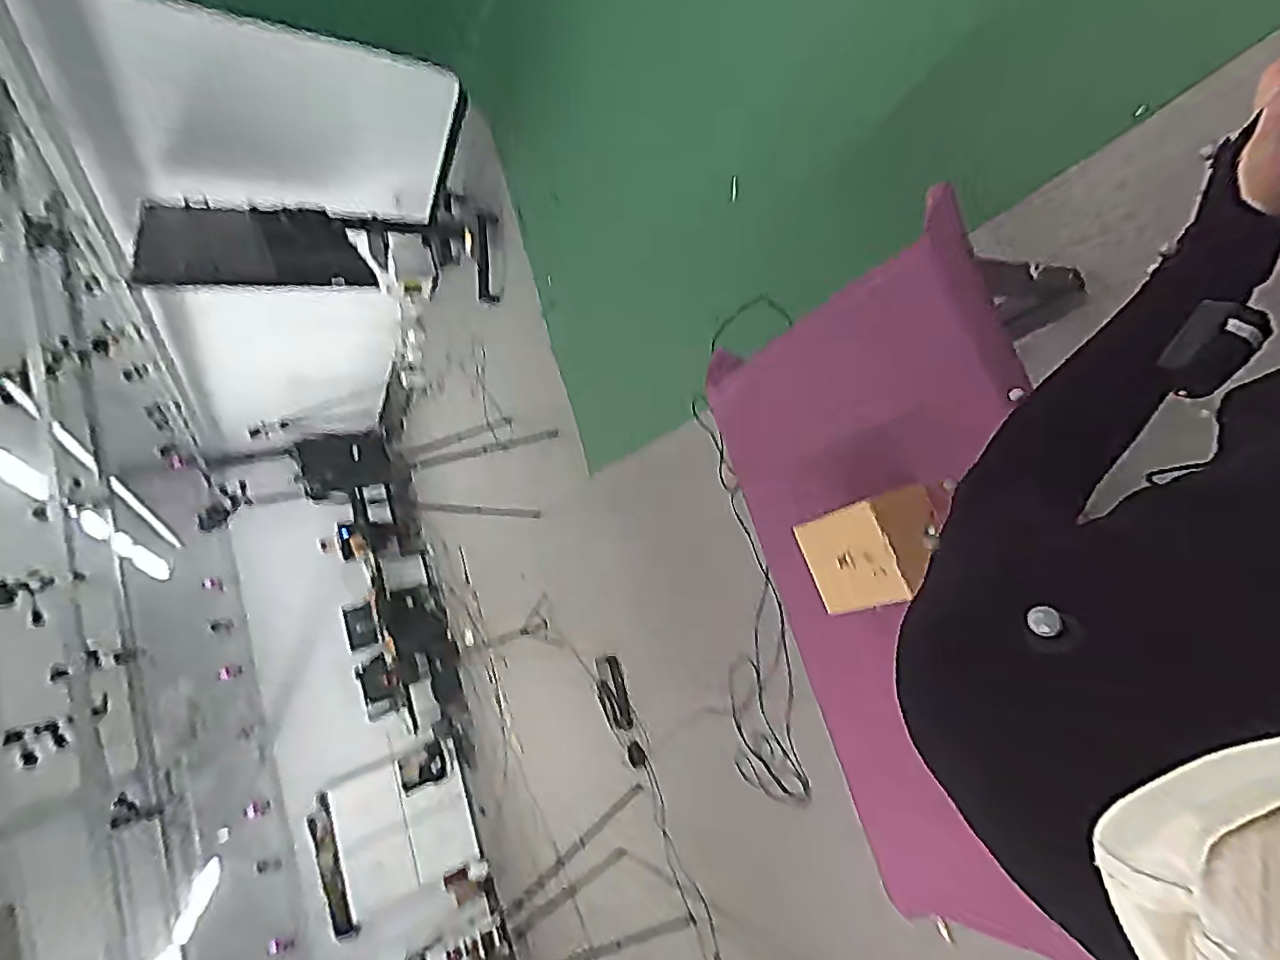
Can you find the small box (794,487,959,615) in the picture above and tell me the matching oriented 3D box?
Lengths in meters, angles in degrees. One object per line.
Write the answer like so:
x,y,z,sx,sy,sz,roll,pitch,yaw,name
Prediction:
0.416,0.126,0.960,0.179,0.176,0.168,-37,70,53,small box
